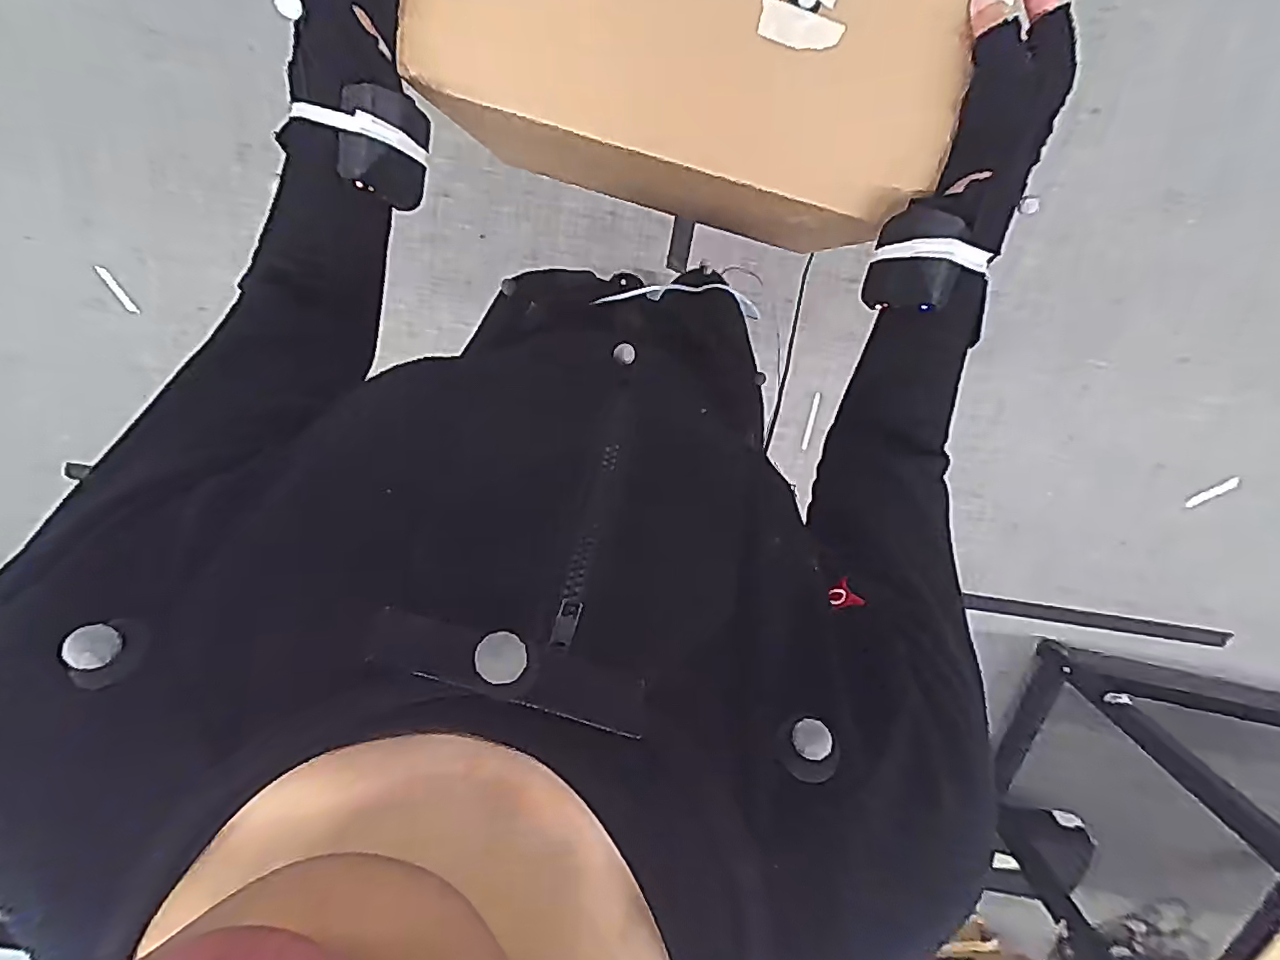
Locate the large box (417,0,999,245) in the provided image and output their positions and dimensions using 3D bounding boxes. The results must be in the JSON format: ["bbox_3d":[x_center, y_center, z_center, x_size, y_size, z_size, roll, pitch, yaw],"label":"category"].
[{"bbox_3d":[0.060,-0.436,0.501,0.408,0.320,0.320,13,111,-6],"label":"large box"}]
